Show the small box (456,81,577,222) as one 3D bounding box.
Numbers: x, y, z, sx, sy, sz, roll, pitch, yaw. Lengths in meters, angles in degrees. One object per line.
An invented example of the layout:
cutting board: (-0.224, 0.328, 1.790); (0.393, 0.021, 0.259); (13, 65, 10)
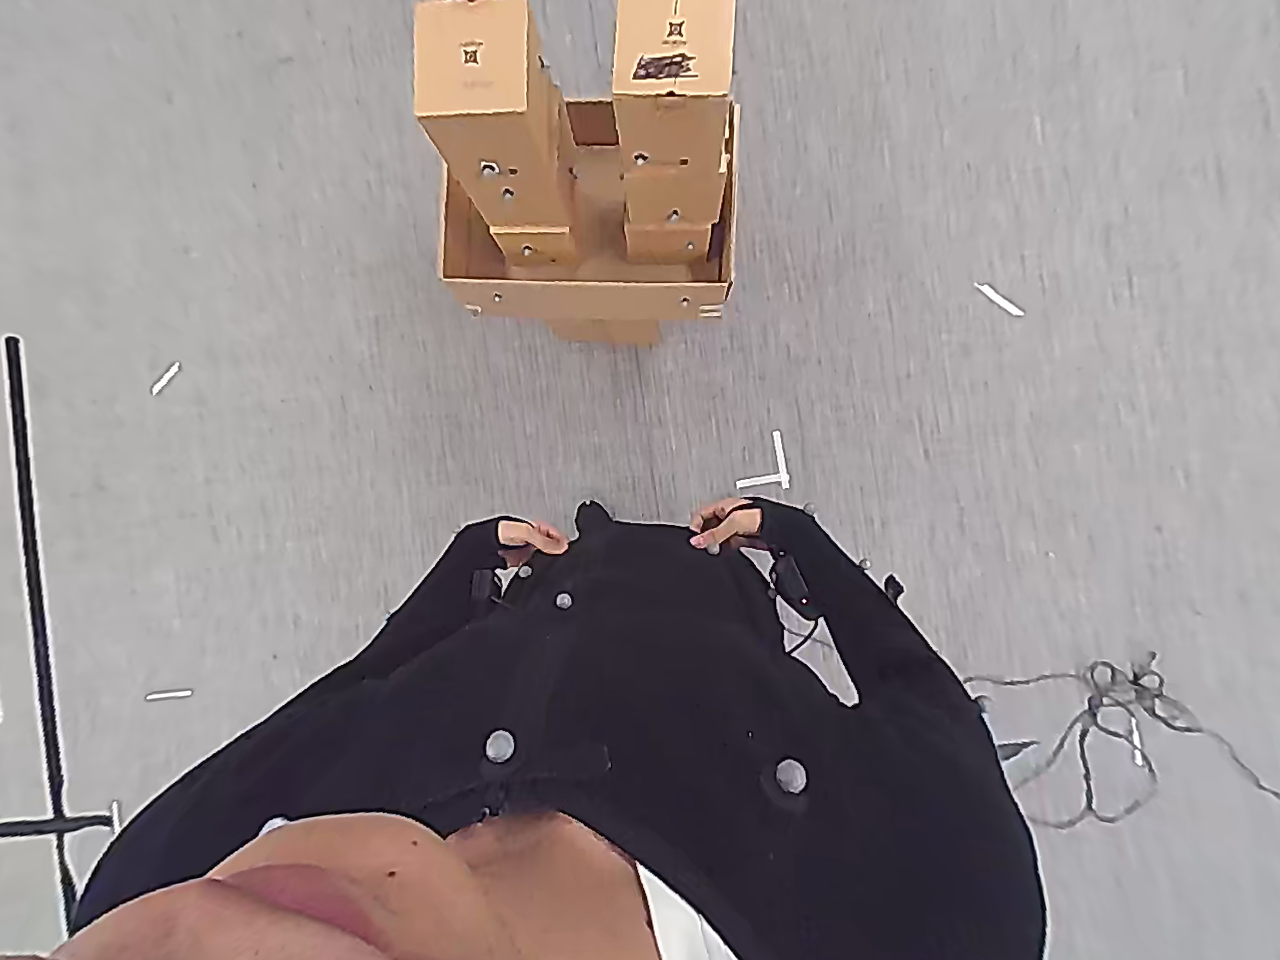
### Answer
small box: (-0.220, -0.597, 0.999); (0.179, 0.176, 0.168); (2, 89, 2)

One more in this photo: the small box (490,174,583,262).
small box: (-0.216, -0.585, 1.163); (0.168, 0.176, 0.179); (0, 88, 2)

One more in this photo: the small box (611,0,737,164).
small box: (0.053, -0.609, 0.816); (0.168, 0.176, 0.179); (4, 88, 3)

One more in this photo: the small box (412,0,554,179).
small box: (-0.233, -0.600, 0.836); (0.168, 0.176, 0.179); (0, 88, 4)

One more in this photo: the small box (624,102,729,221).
small box: (0.063, -0.590, 0.980); (0.179, 0.176, 0.168); (0, 88, 3)
